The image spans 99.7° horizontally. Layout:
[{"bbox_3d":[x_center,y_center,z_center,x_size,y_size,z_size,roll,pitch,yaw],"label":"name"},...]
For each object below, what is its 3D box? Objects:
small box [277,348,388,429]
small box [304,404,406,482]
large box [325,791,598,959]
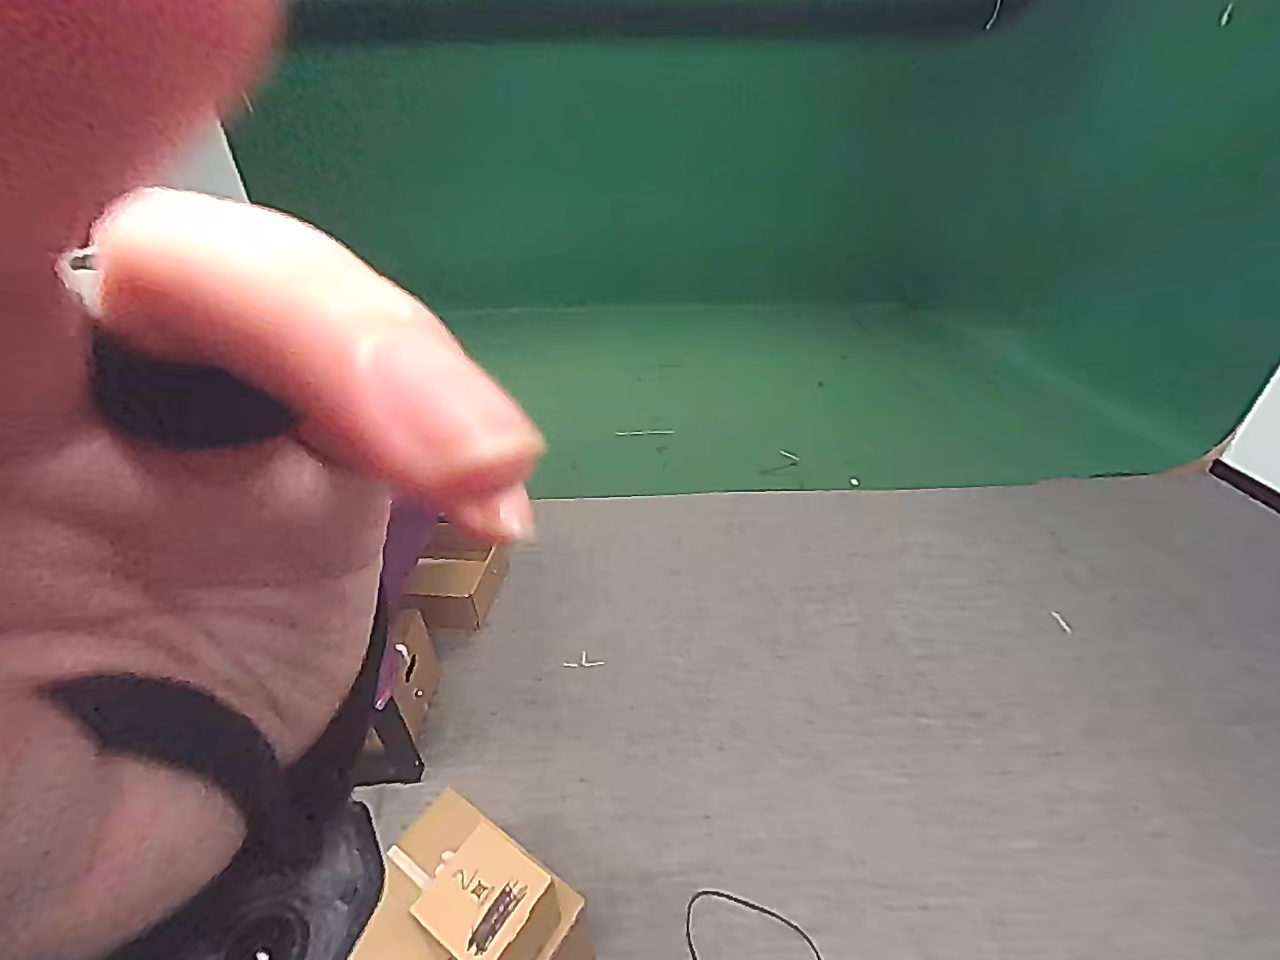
[{"bbox_3d":[-0.811,-0.245,1.446,0.179,0.176,0.168,2,34,5],"label":"small box"},{"bbox_3d":[-0.800,-0.107,1.536,0.179,0.176,0.168,2,34,3],"label":"small box"},{"bbox_3d":[-0.341,0.953,1.112,0.408,0.320,0.320,18,38,29],"label":"large box"}]
